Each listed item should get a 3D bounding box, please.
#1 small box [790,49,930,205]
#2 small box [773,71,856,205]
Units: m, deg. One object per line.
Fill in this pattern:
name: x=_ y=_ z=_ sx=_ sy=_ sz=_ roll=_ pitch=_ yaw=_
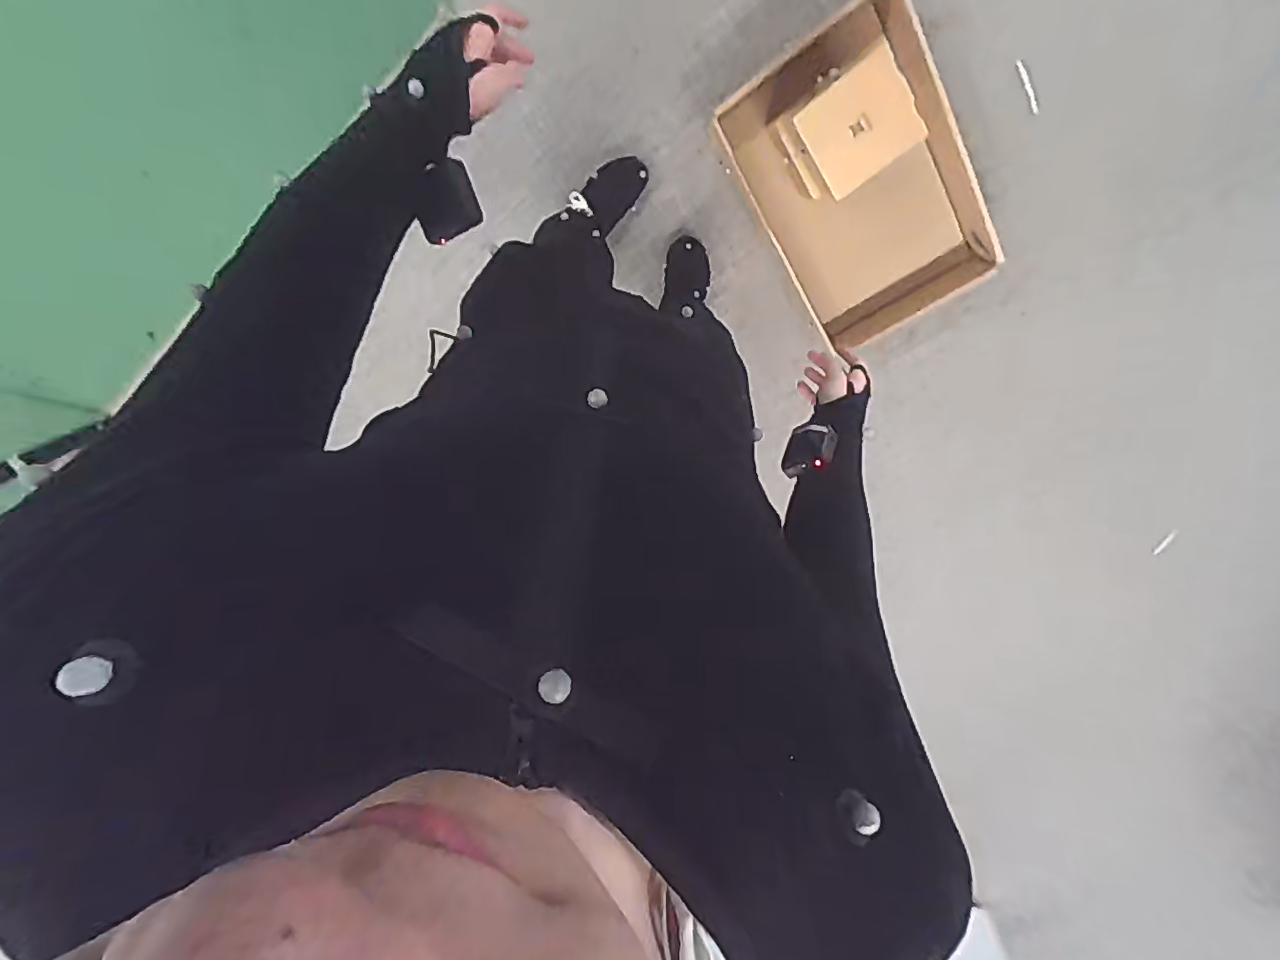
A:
small box: x=0.395 y=-0.642 z=1.005 sx=0.179 sy=0.176 sz=0.168 roll=-32 pitch=111 yaw=22
small box: x=0.400 y=-0.717 z=1.150 sx=0.168 sy=0.176 sz=0.179 roll=-29 pitch=114 yaw=22
